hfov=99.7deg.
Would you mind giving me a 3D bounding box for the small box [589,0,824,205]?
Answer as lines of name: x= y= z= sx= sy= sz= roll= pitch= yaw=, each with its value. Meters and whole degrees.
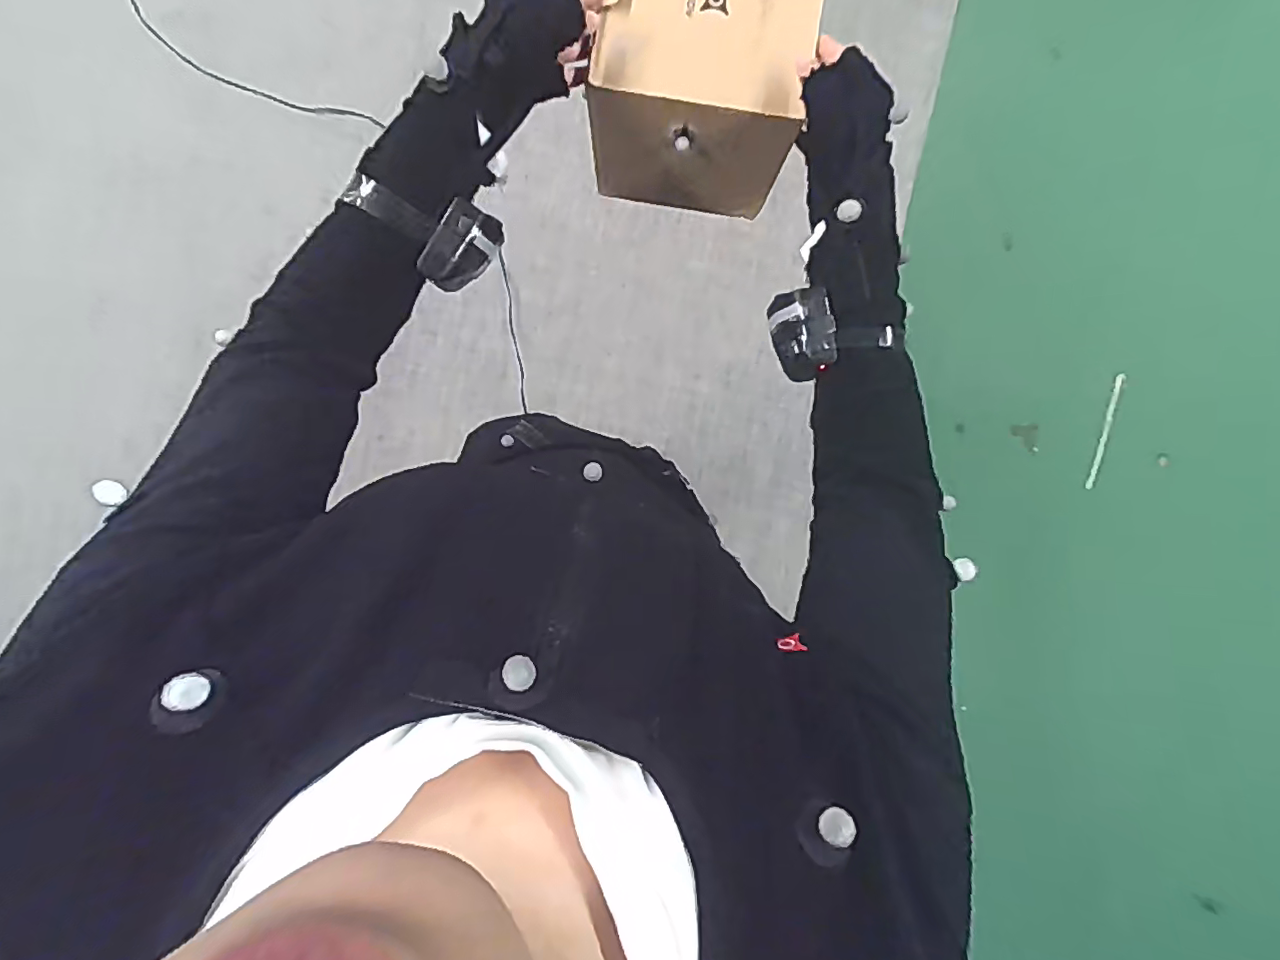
small box: x=0.055 y=-0.380 z=0.497 sx=0.179 sy=0.176 sz=0.168 roll=8 pitch=91 yaw=-3
